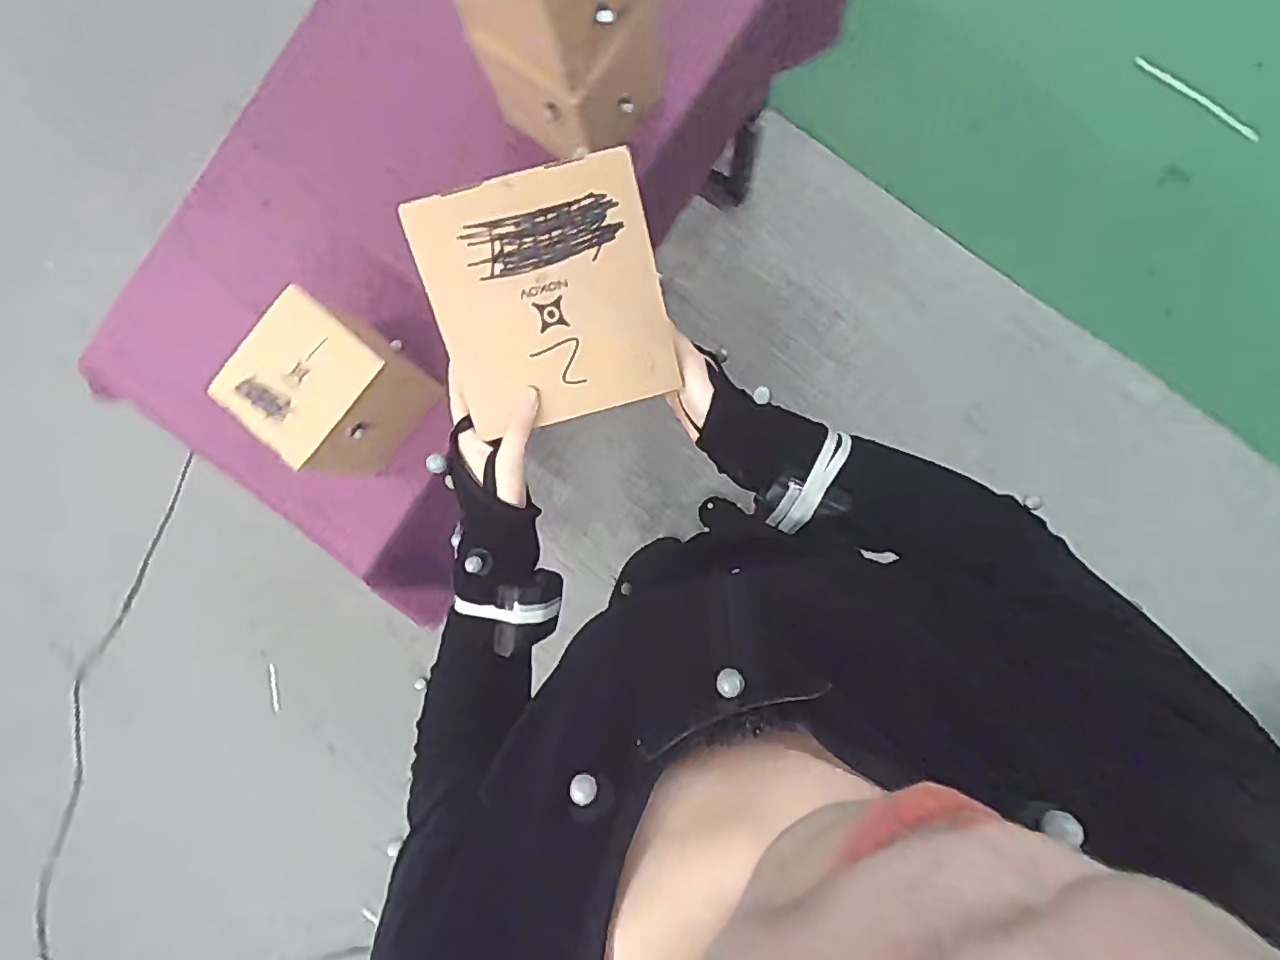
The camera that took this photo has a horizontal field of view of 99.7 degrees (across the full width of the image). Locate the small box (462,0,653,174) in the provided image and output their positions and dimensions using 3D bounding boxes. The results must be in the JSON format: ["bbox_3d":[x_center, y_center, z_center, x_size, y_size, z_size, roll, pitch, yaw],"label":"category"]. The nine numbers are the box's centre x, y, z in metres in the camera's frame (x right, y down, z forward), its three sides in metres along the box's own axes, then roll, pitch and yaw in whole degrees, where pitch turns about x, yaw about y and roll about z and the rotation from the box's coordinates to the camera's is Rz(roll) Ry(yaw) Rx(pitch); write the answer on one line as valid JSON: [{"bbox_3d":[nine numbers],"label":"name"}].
[{"bbox_3d":[-0.096,-0.557,0.732,0.179,0.176,0.168,36,92,5],"label":"small box"}]

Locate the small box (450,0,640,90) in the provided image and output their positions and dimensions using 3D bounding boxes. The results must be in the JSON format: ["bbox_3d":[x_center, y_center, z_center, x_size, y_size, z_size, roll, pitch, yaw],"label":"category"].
[{"bbox_3d":[-0.114,-0.570,0.570,0.179,0.176,0.168,36,92,4],"label":"small box"}]

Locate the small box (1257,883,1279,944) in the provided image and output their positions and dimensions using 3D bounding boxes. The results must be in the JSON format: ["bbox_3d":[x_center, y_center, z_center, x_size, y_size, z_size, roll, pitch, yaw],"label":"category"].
[{"bbox_3d":[1.320,0.856,0.990,0.168,0.176,0.179,38,92,3],"label":"small box"}]

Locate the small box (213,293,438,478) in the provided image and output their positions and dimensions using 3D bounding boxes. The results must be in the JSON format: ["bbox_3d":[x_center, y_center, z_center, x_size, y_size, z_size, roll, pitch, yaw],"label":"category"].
[{"bbox_3d":[-0.418,-0.116,0.751,0.168,0.176,0.179,38,91,5],"label":"small box"}]
